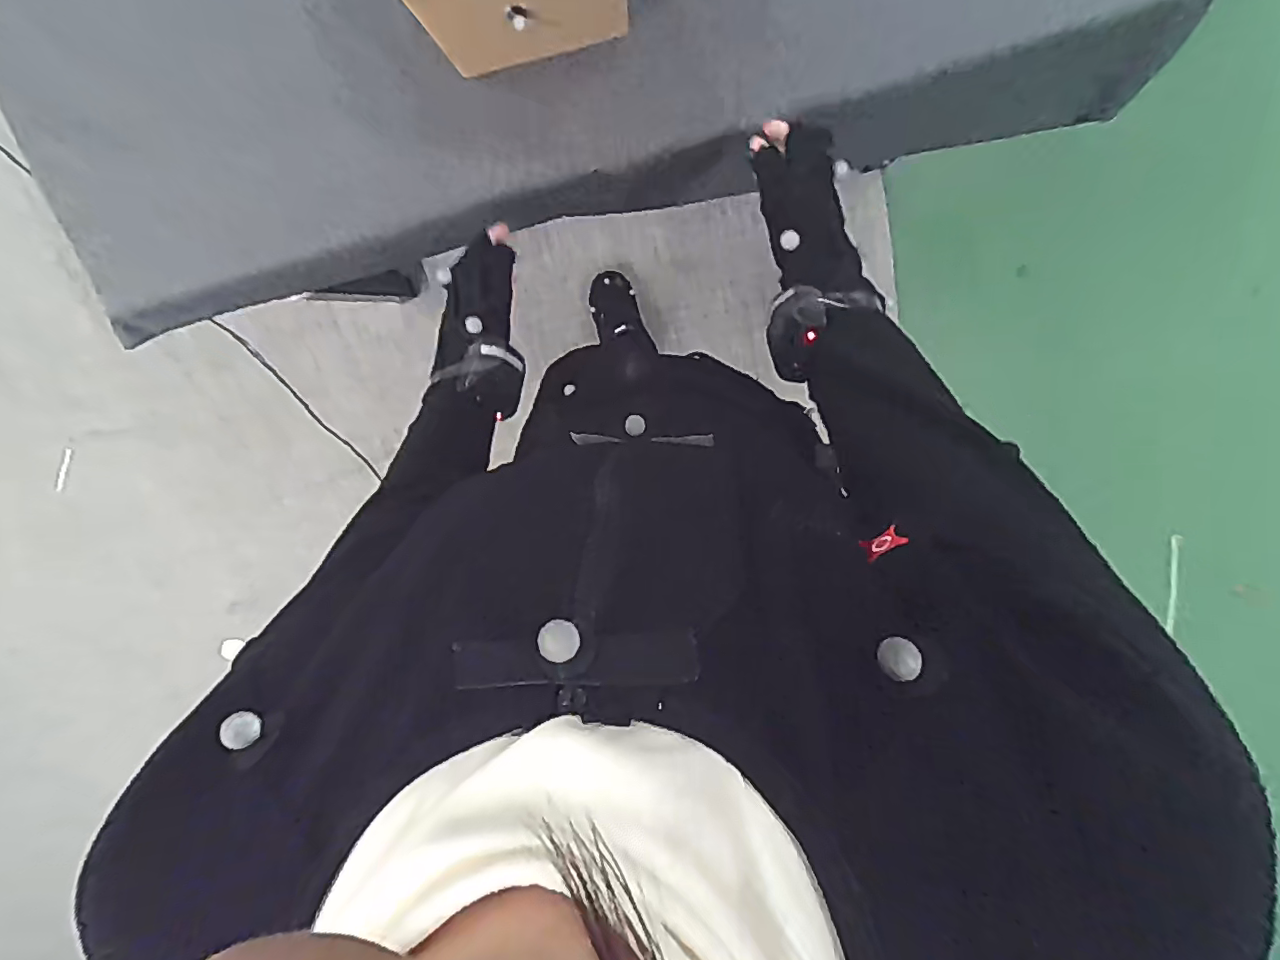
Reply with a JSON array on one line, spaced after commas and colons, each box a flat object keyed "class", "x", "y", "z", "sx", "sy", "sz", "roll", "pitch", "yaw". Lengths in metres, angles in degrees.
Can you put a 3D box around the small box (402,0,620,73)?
[{"class": "small box", "x": -0.115, "y": -0.481, "z": 0.448, "sx": 0.179, "sy": 0.176, "sz": 0.168, "roll": -11, "pitch": 106, "yaw": 5}]
